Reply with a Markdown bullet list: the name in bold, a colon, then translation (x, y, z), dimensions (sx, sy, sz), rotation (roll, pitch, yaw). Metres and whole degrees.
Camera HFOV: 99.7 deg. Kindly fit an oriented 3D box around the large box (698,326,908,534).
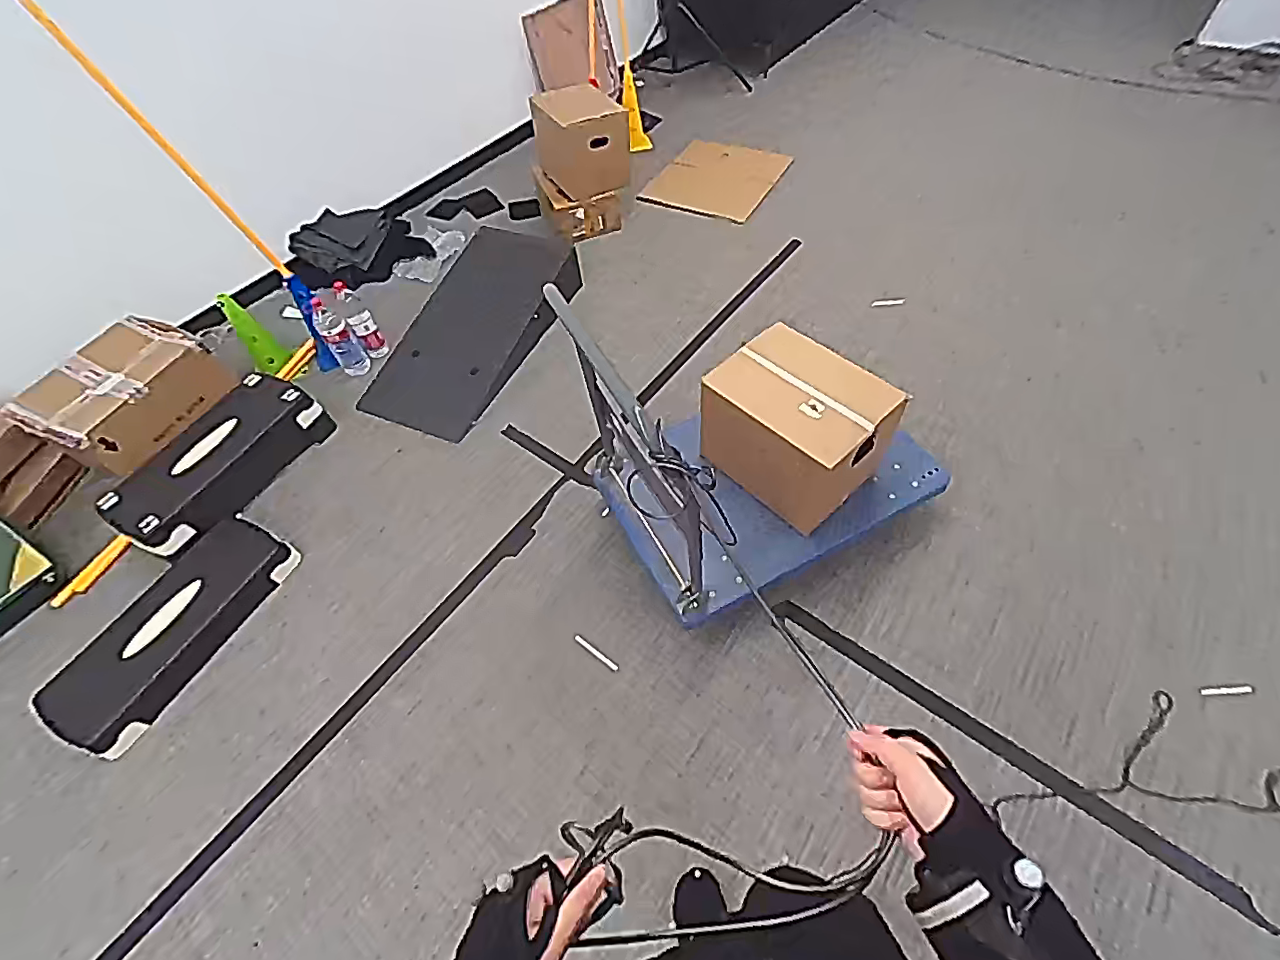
- **large box**: translation (0.404, -0.136, 1.445), dimensions (0.320, 0.320, 0.408), rotation (-39, 62, -19)
